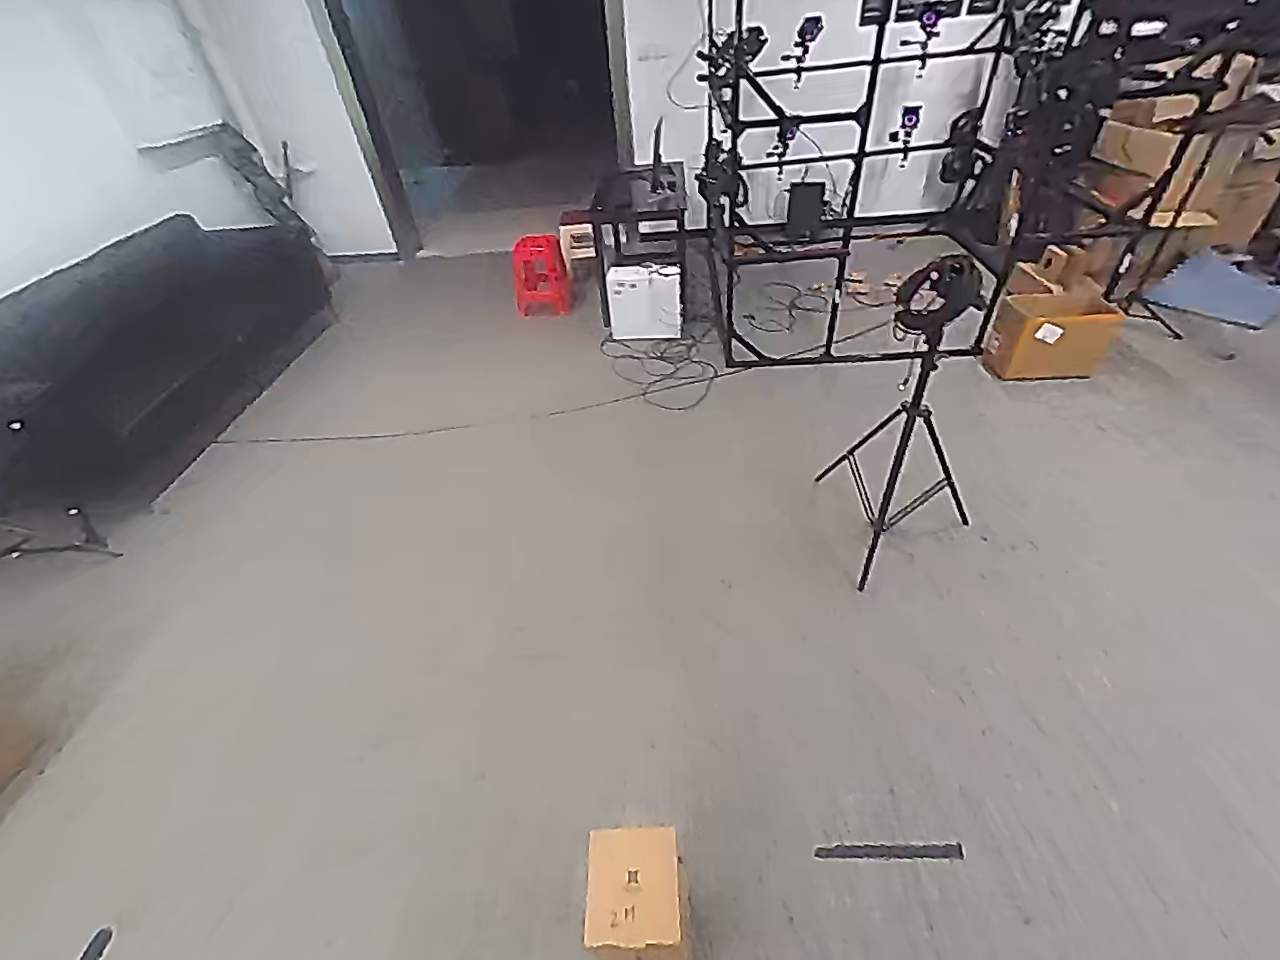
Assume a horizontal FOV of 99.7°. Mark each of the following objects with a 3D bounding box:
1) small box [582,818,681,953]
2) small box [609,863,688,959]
[{"bbox_3d":[-0.010,0.766,1.024,0.168,0.176,0.179,-4,42,4],"label":"small box"},{"bbox_3d":[0.023,1.008,1.243,0.168,0.176,0.179,-4,41,4],"label":"small box"}]
